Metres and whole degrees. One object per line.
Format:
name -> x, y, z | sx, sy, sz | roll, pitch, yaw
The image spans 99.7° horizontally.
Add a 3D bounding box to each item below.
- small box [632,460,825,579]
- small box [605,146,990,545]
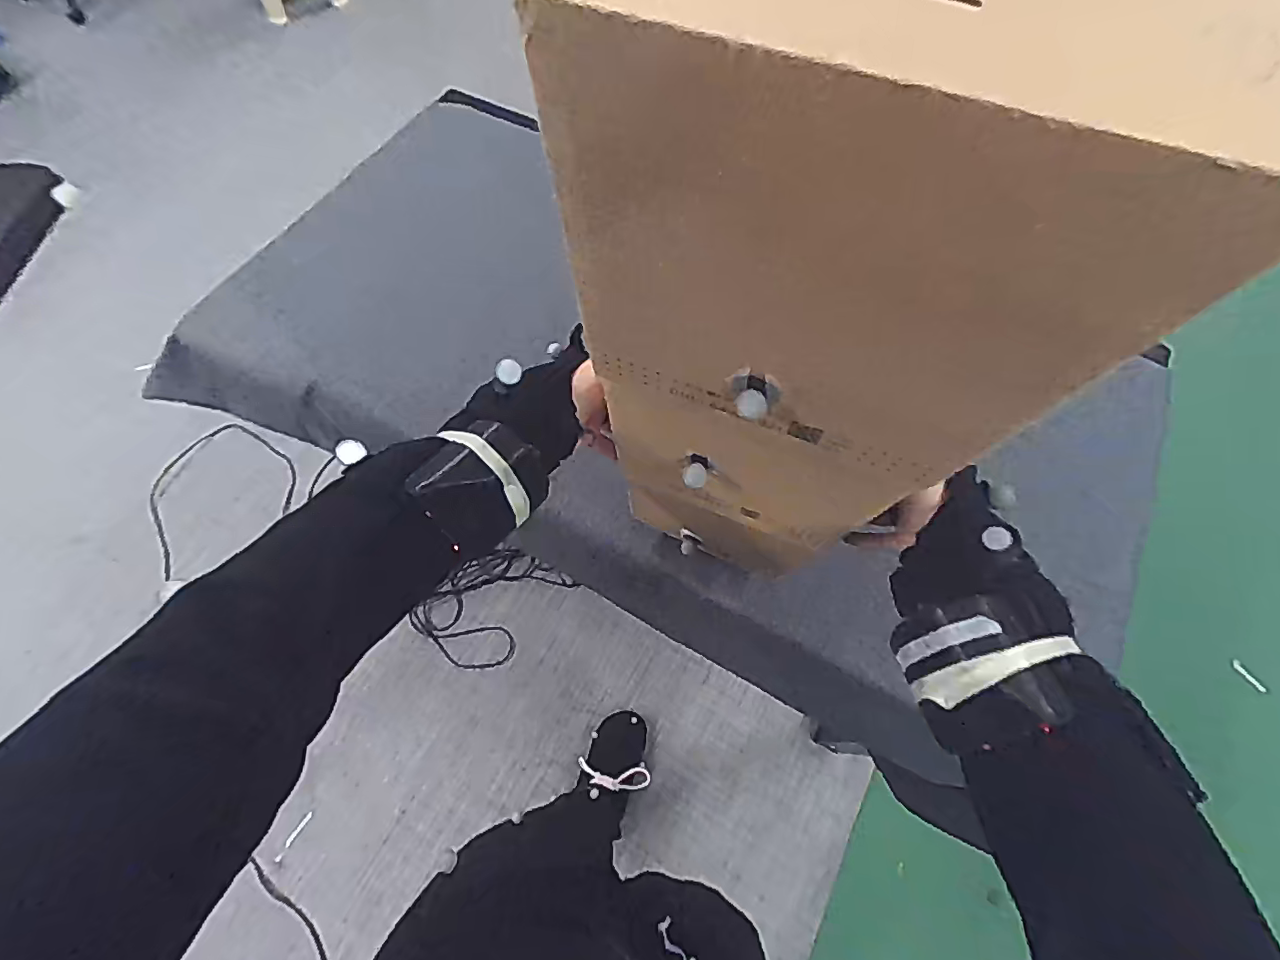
small box -> 0.102, -0.023, 0.522 | 0.168, 0.176, 0.179 | 23, 74, 10
small box -> 0.092, -0.074, 0.368 | 0.168, 0.176, 0.179 | 21, 72, 9
